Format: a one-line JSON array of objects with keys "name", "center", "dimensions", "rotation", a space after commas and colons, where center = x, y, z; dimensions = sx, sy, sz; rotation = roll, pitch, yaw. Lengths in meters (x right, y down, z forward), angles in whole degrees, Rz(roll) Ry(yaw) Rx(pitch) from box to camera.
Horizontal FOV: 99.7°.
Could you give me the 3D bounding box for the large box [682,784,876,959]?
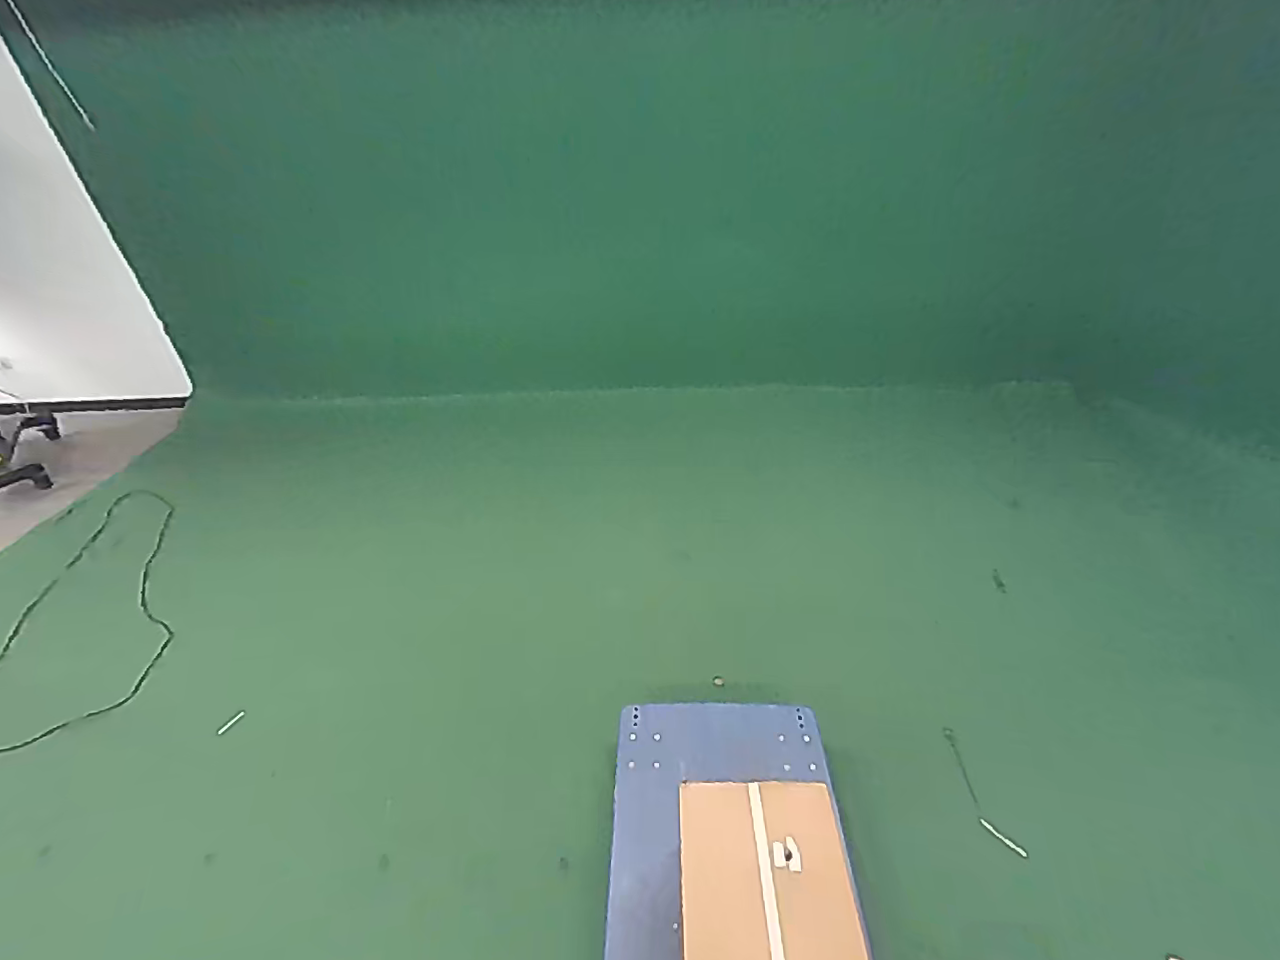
[{"name": "large box", "center": [0.246, 0.876, 1.052], "dimensions": [0.320, 0.320, 0.408], "rotation": [0, 34, 2]}]
